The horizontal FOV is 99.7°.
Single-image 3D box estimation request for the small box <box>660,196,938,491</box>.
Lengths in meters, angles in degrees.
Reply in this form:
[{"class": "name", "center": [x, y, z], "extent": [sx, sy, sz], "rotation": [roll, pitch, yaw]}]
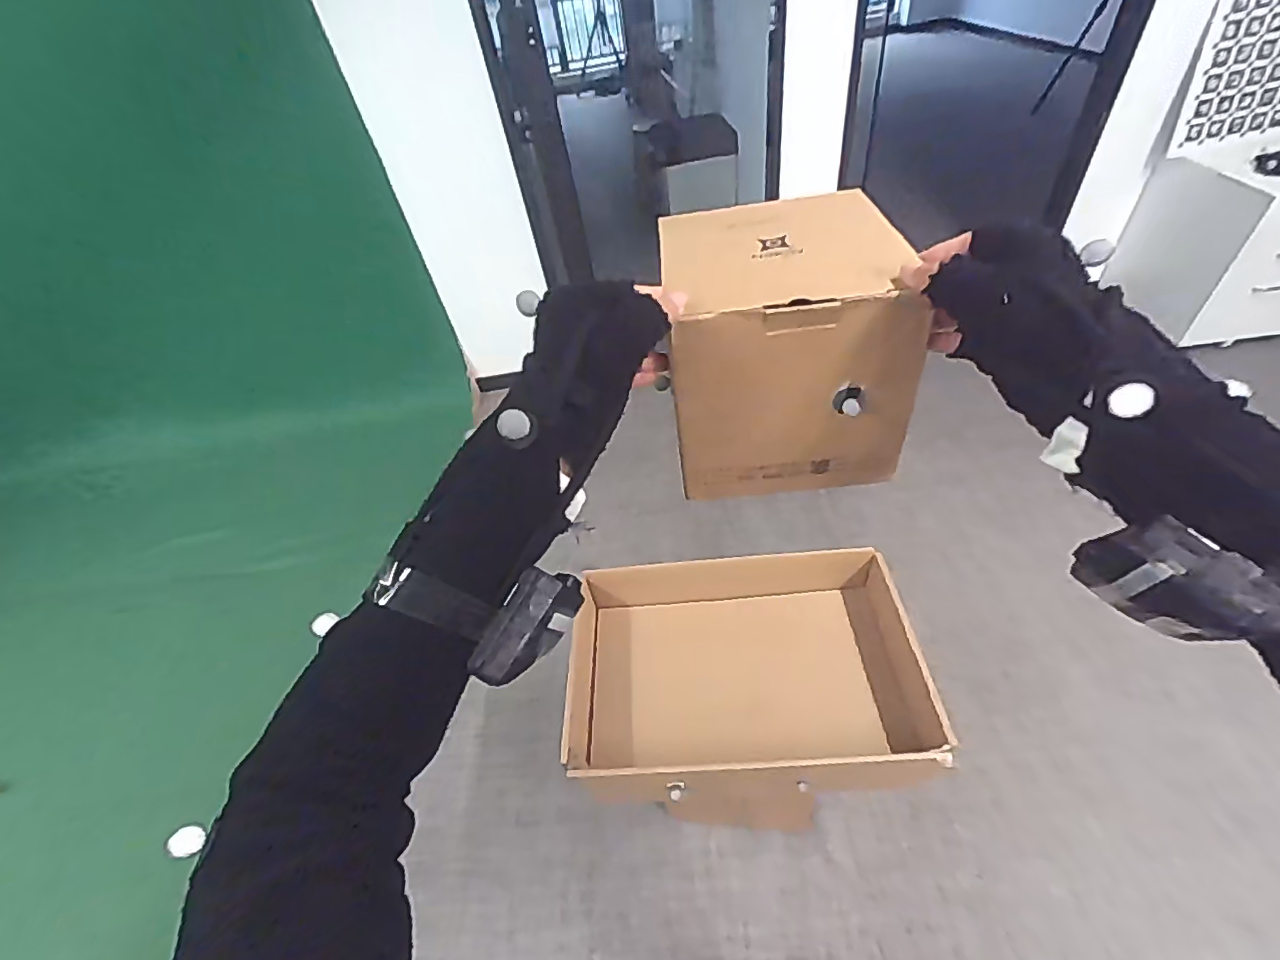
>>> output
[{"class": "small box", "center": [0.108, -0.104, 0.439], "extent": [0.168, 0.176, 0.179], "rotation": [-6, 43, 5]}]
